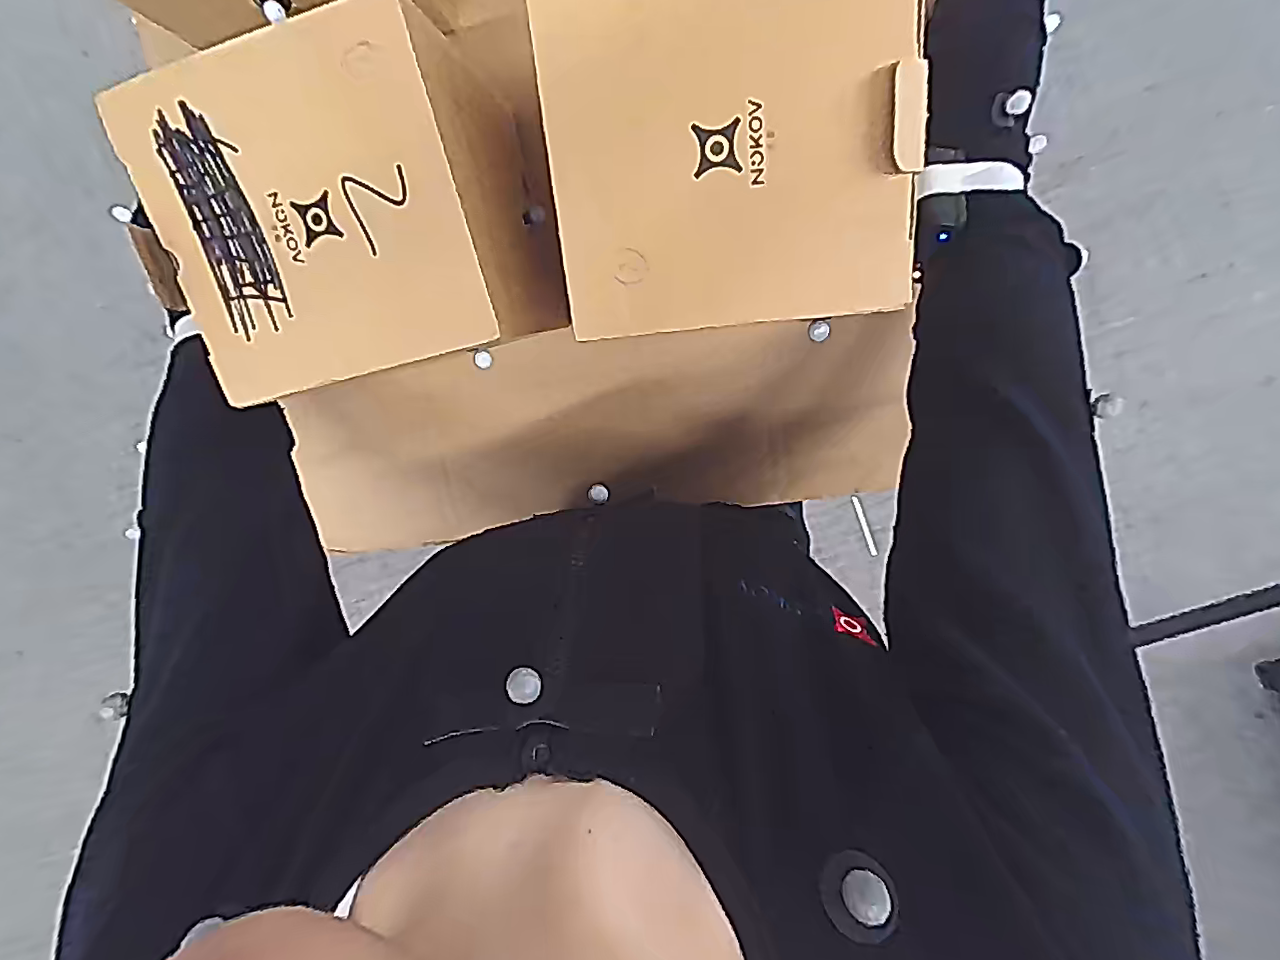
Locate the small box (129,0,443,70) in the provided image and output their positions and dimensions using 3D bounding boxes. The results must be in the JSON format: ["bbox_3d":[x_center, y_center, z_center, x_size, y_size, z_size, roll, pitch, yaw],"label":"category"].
[{"bbox_3d":[-0.241,-0.382,0.316,0.168,0.176,0.179,-9,101,9],"label":"small box"}]
